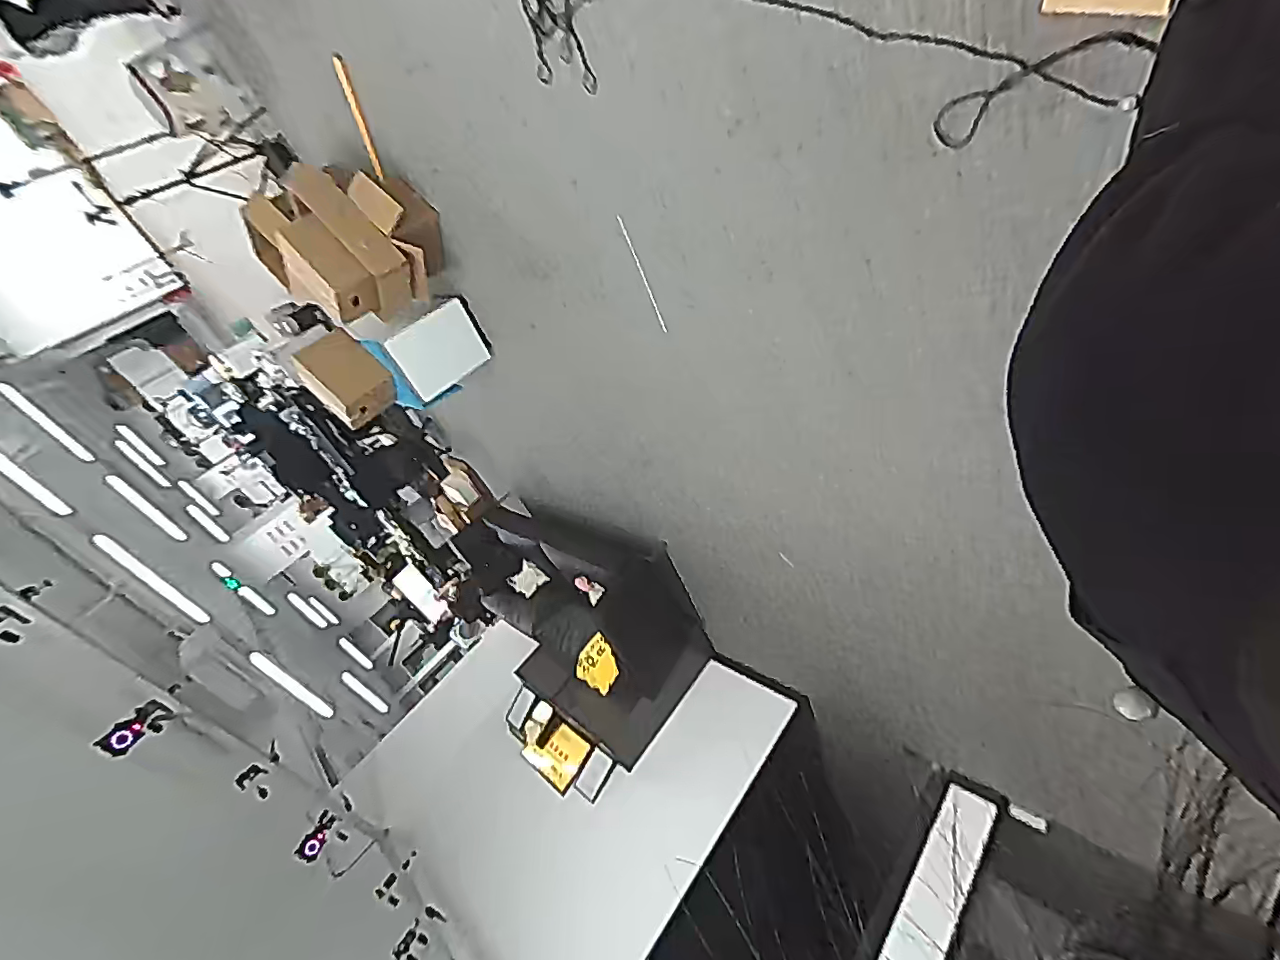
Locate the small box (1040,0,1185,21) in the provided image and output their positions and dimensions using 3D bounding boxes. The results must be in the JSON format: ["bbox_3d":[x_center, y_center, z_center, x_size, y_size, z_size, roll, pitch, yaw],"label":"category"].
[{"bbox_3d":[0.683,-0.744,0.716,0.168,0.176,0.179,30,149,28],"label":"small box"}]
